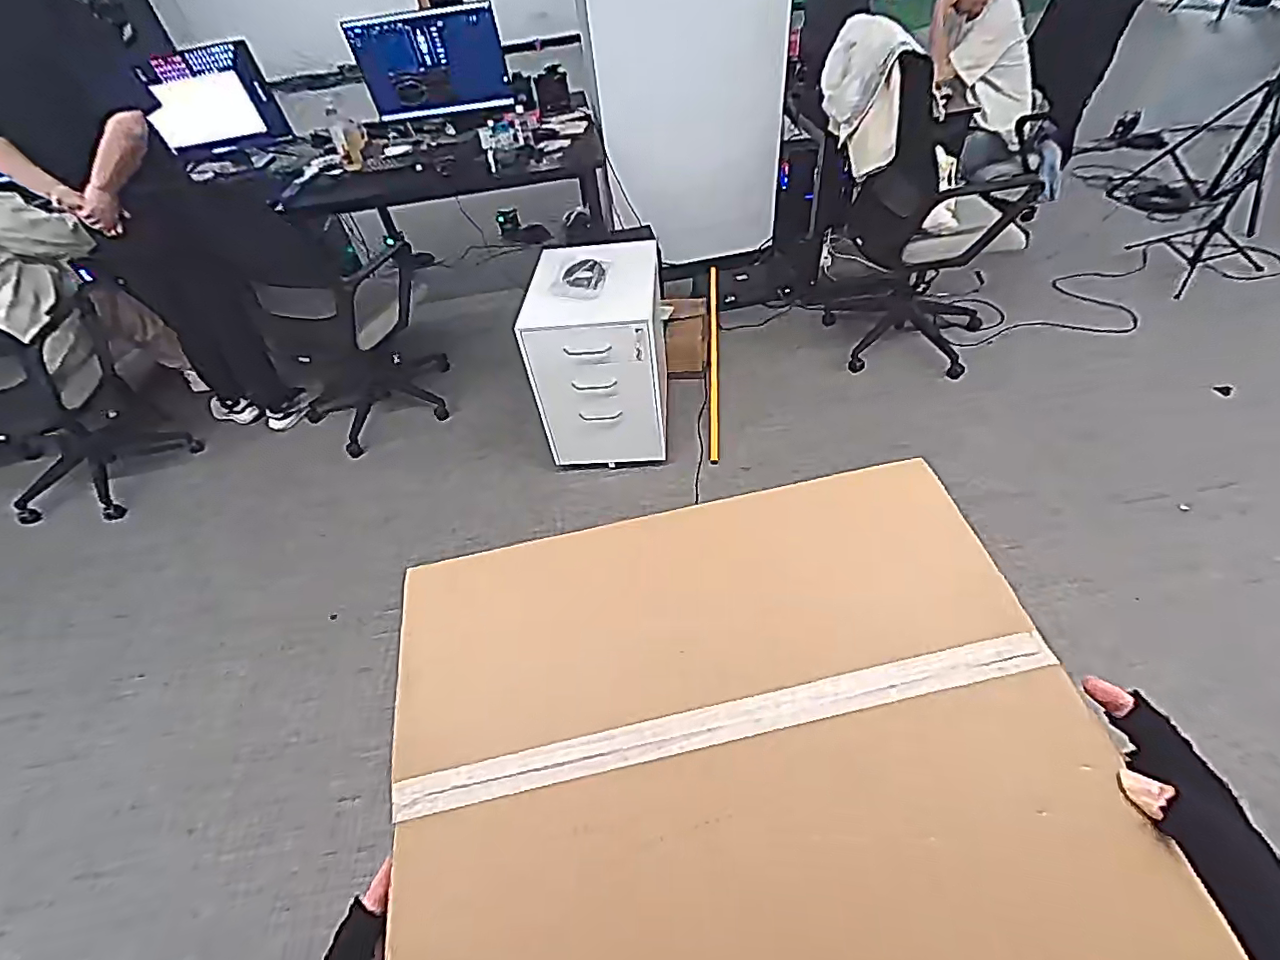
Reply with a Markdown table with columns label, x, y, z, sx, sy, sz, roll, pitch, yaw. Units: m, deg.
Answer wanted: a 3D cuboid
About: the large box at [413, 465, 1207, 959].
| label | x | y | z | sx | sy | sz | roll | pitch | yaw |
| --- | --- | --- | --- | --- | --- | --- | --- | --- | --- |
| large box | 0.069 | 0.238 | 0.461 | 0.408 | 0.320 | 0.320 | -13 | 55 | -2 |
